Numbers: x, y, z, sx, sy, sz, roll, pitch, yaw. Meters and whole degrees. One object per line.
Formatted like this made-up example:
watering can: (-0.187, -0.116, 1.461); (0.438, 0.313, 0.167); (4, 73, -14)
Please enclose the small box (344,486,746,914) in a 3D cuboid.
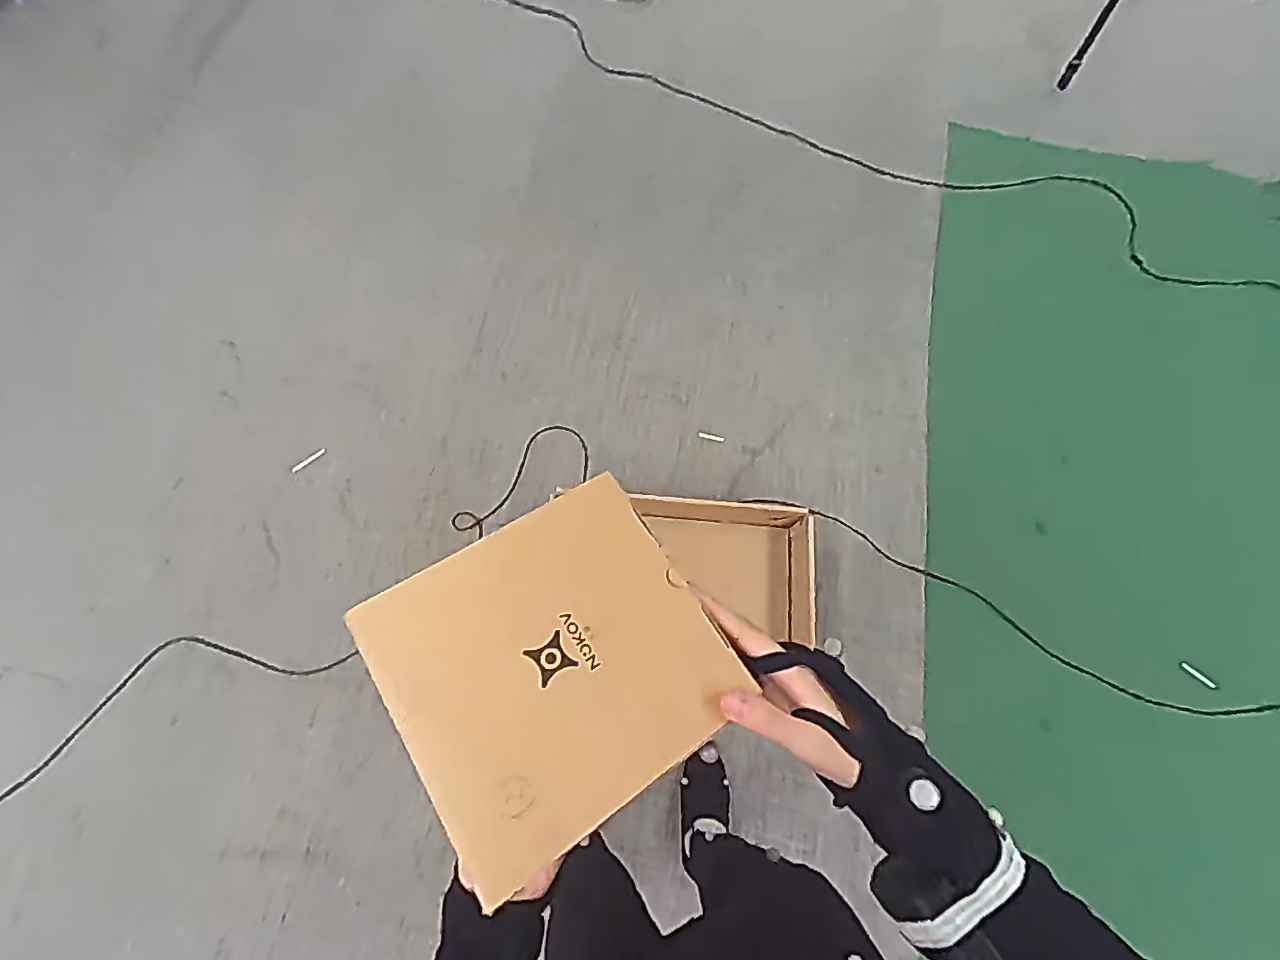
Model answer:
small box: (-0.062, 0.140, 0.376); (0.179, 0.176, 0.168); (-30, 72, -21)
